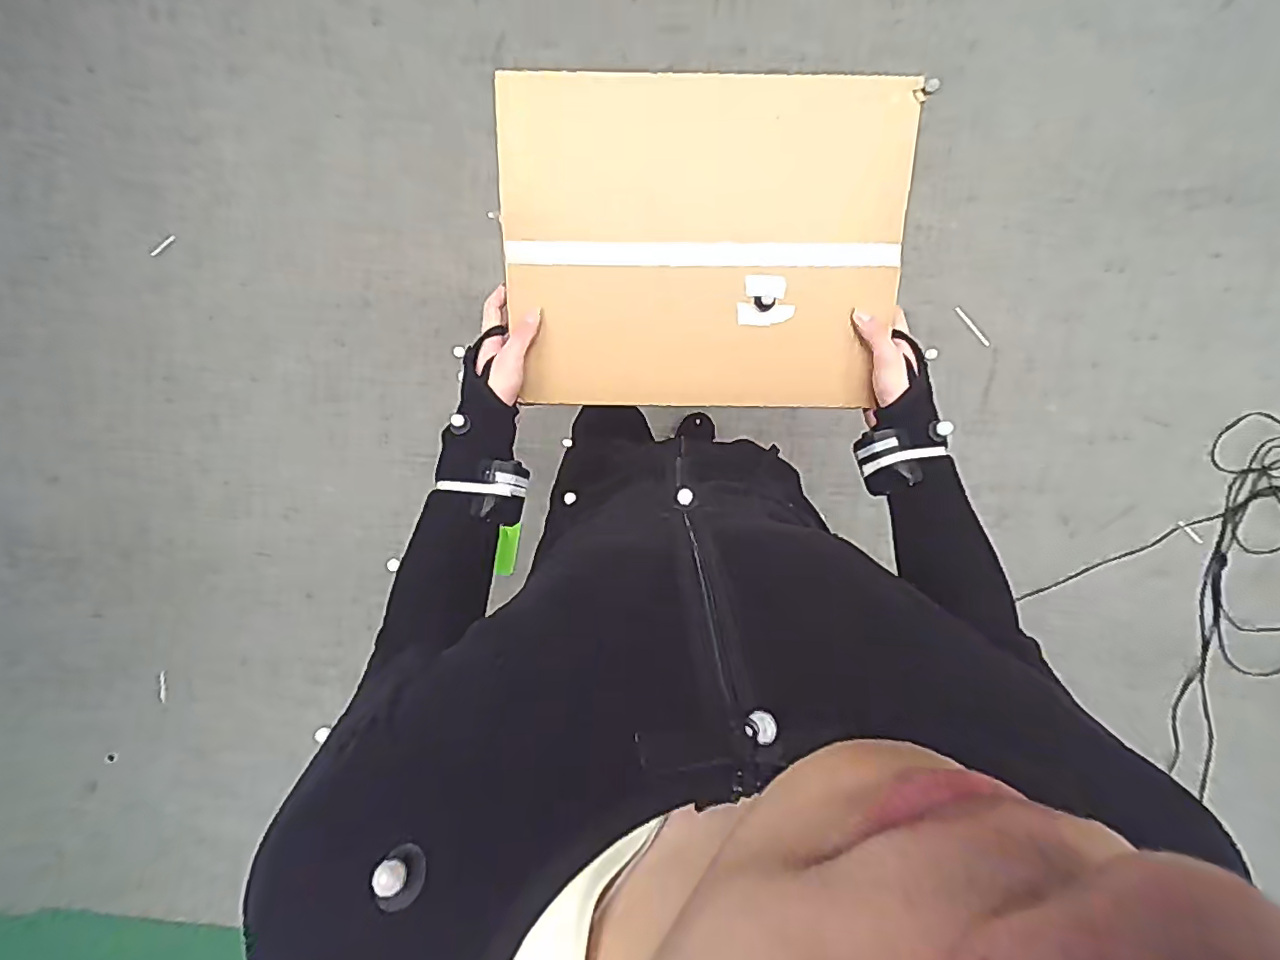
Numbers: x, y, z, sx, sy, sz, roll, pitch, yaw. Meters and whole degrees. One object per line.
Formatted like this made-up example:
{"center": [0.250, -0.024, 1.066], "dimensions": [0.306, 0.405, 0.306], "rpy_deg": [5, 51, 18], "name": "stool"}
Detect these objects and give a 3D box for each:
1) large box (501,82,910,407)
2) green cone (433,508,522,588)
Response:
{"center": [0.063, -0.275, 0.704], "dimensions": [0.408, 0.320, 0.320], "rpy_deg": [0, 107, 0], "name": "large box"}
{"center": [-0.484, 0.218, 1.505], "dimensions": [0.200, 0.368, 0.202], "rpy_deg": [10, 98, 2], "name": "green cone"}
